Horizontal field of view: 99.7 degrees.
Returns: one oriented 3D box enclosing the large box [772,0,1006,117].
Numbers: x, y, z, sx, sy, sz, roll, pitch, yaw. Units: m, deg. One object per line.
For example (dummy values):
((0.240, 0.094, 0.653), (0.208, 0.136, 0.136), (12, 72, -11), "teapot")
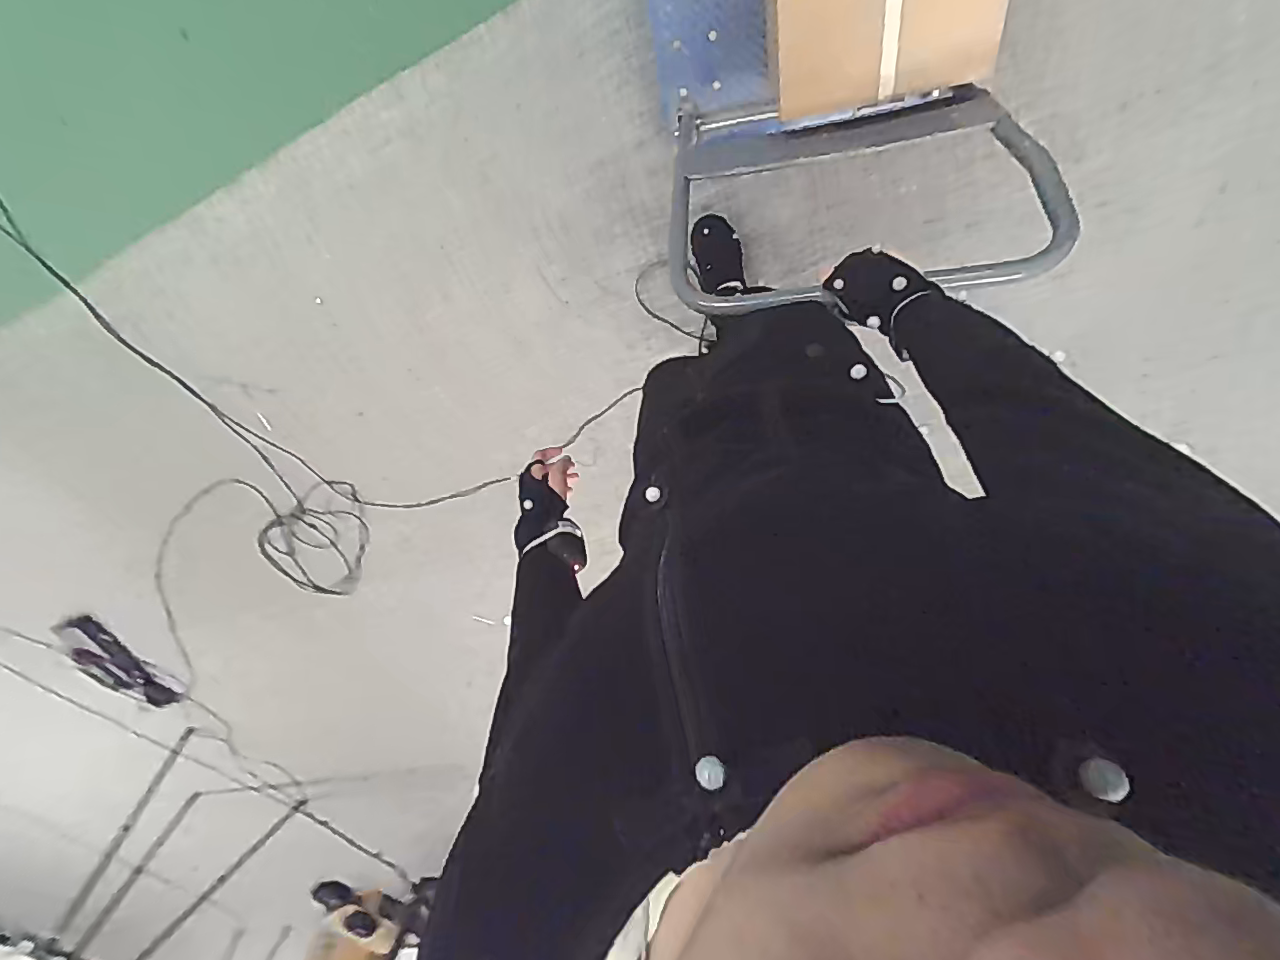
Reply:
((0.358, -0.847, 0.821), (0.320, 0.320, 0.408), (-4, 135, 12), "large box")
